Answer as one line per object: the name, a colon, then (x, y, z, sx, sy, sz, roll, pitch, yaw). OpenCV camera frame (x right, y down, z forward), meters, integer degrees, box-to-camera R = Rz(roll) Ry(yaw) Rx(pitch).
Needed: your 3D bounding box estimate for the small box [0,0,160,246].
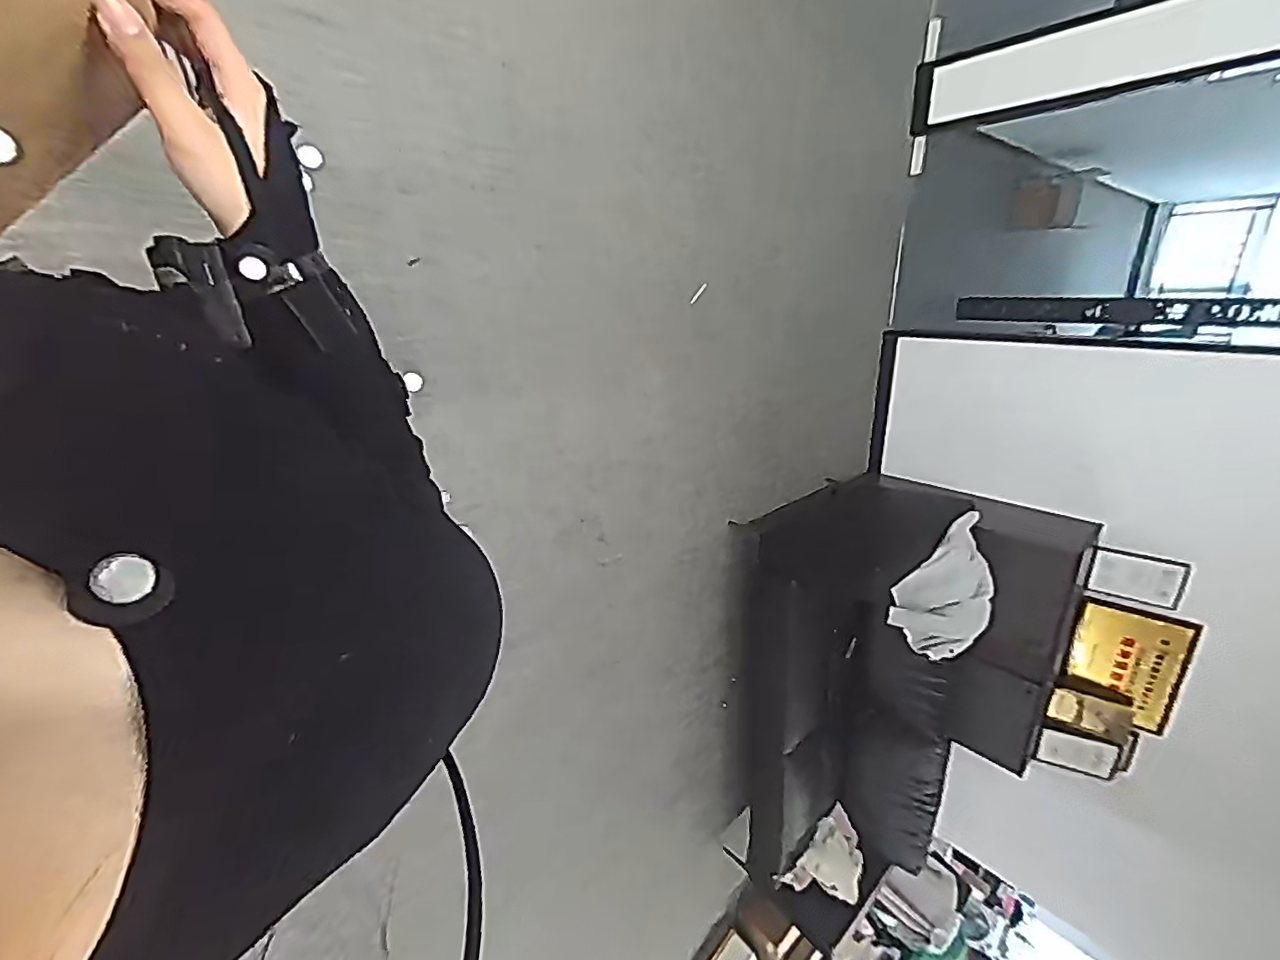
small box: (-0.340, -0.209, 0.212, 0.168, 0.176, 0.179, 42, 75, -33)
